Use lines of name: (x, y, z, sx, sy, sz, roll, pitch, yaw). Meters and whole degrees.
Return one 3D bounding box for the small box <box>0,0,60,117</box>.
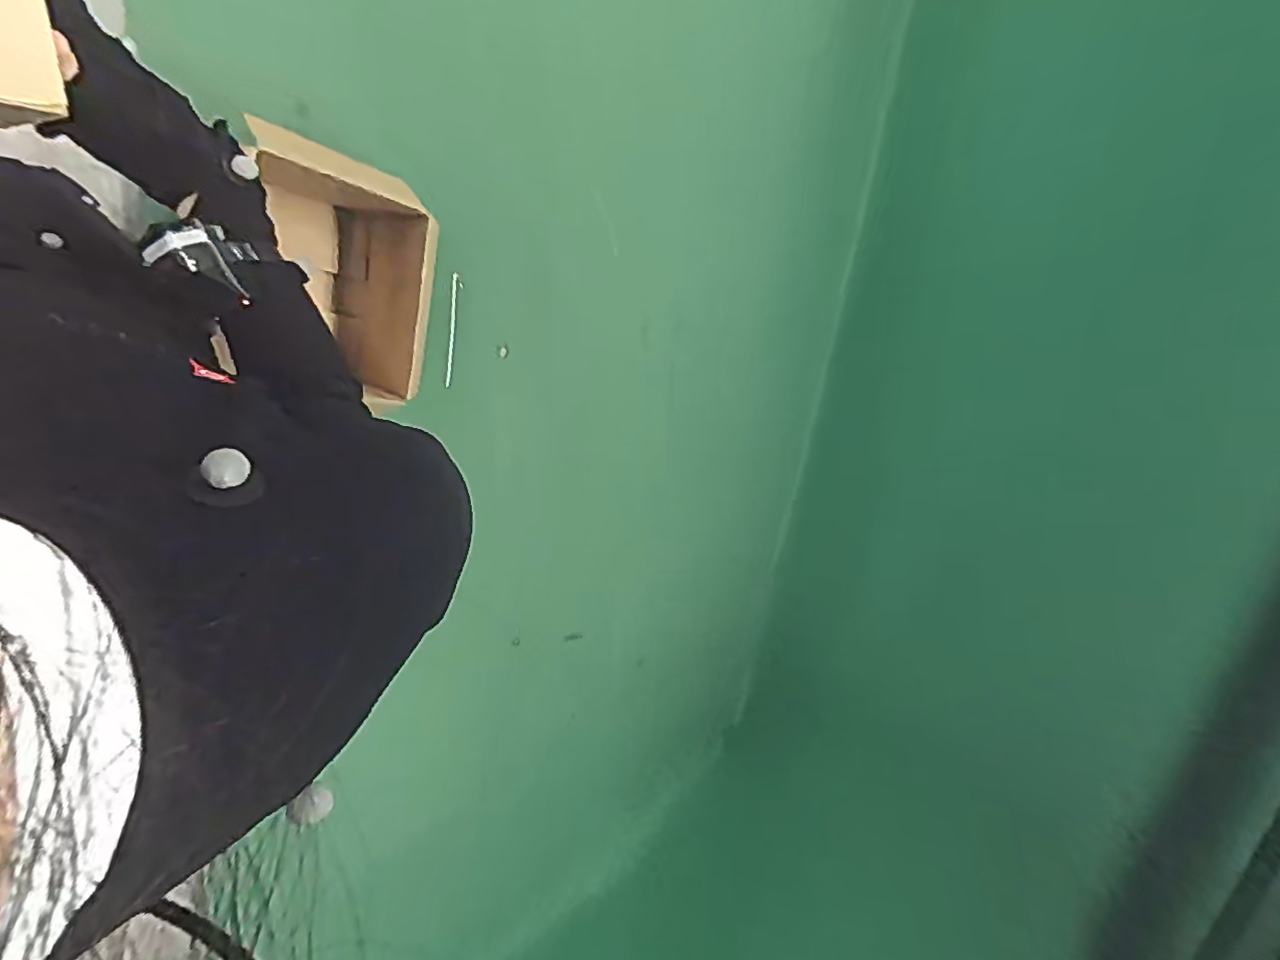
small box: (-0.411, -0.283, 0.235, 0.168, 0.176, 0.179, -22, 125, -51)
